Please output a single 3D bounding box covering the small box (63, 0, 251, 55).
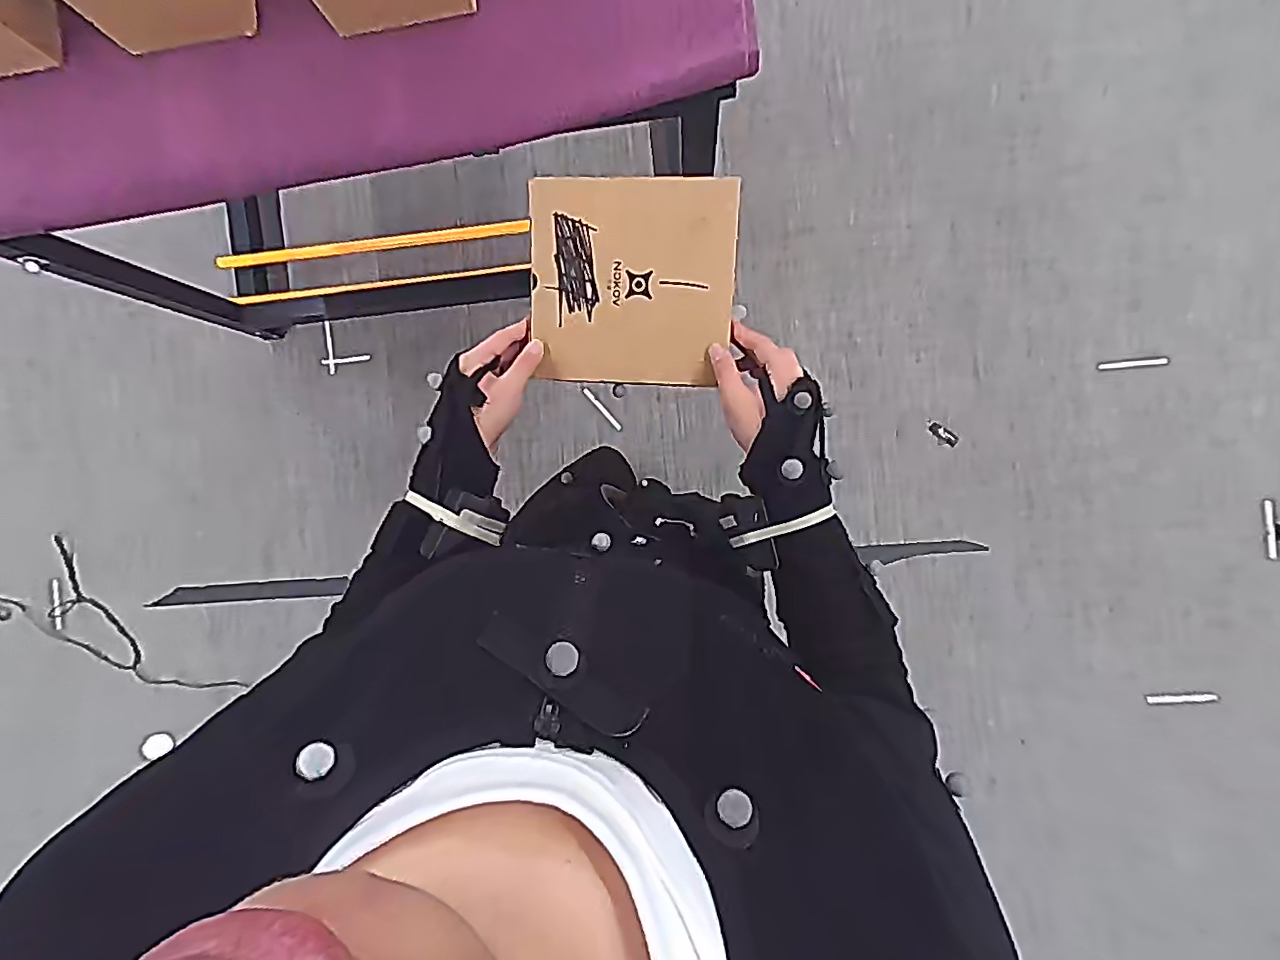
[{"bbox_3d":[-0.575,-0.627,0.606,0.179,0.176,0.168,-5,90,5],"label":"small box"}]

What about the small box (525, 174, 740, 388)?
[{"bbox_3d":[-0.001,-0.178,0.526,0.179,0.176,0.168,3,100,6],"label":"small box"}]

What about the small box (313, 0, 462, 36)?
[{"bbox_3d":[-0.297,-0.631,0.579,0.179,0.176,0.168,-6,88,5],"label":"small box"}]
